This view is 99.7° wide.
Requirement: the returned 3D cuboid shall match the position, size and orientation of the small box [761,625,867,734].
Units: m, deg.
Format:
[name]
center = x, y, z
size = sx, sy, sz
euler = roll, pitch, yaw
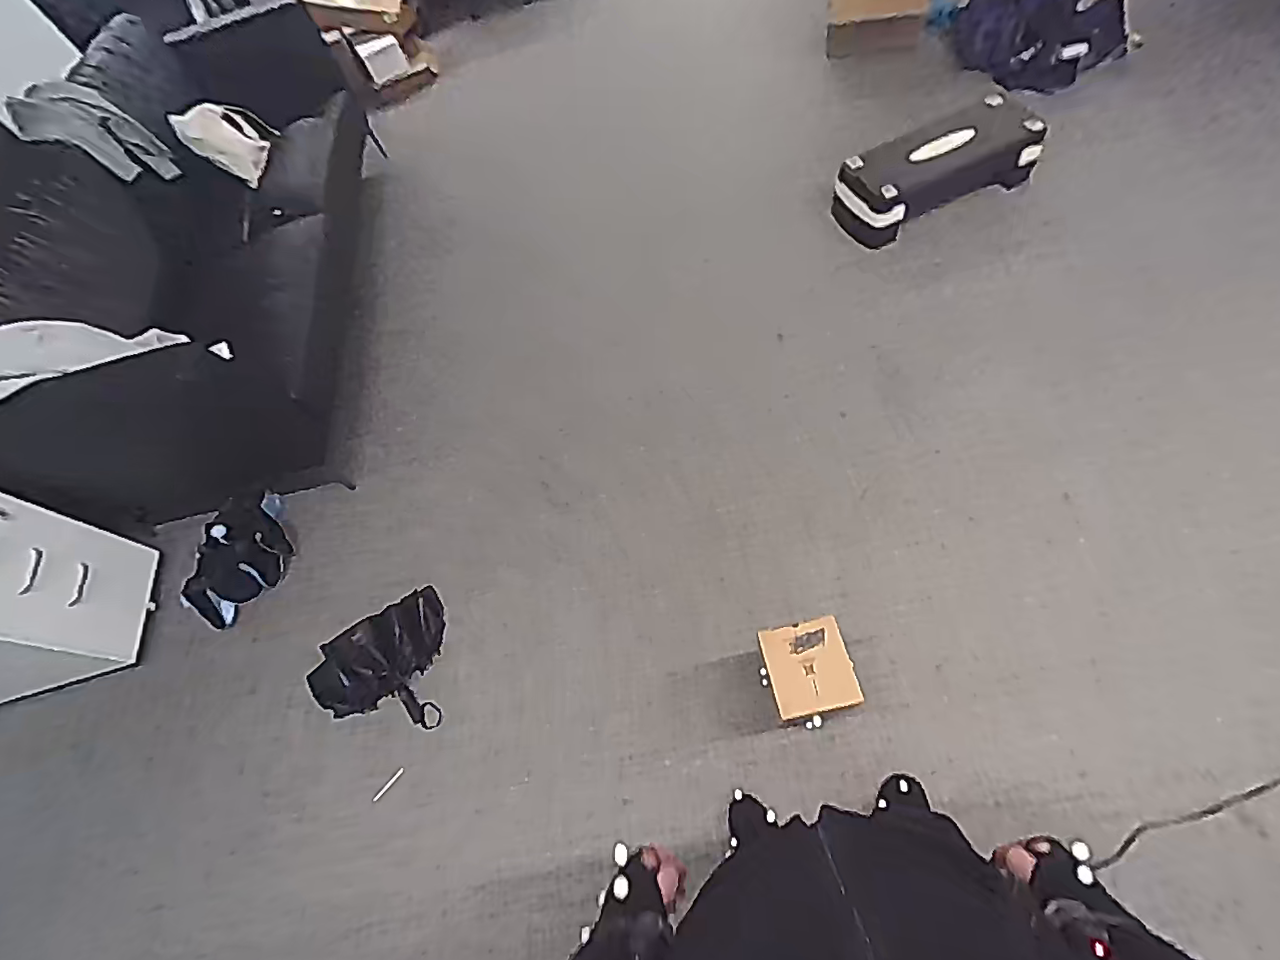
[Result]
[small box]
center = 0.362, 0.431, 1.159
size = 0.168, 0.176, 0.179
euler = -15, 60, 5
